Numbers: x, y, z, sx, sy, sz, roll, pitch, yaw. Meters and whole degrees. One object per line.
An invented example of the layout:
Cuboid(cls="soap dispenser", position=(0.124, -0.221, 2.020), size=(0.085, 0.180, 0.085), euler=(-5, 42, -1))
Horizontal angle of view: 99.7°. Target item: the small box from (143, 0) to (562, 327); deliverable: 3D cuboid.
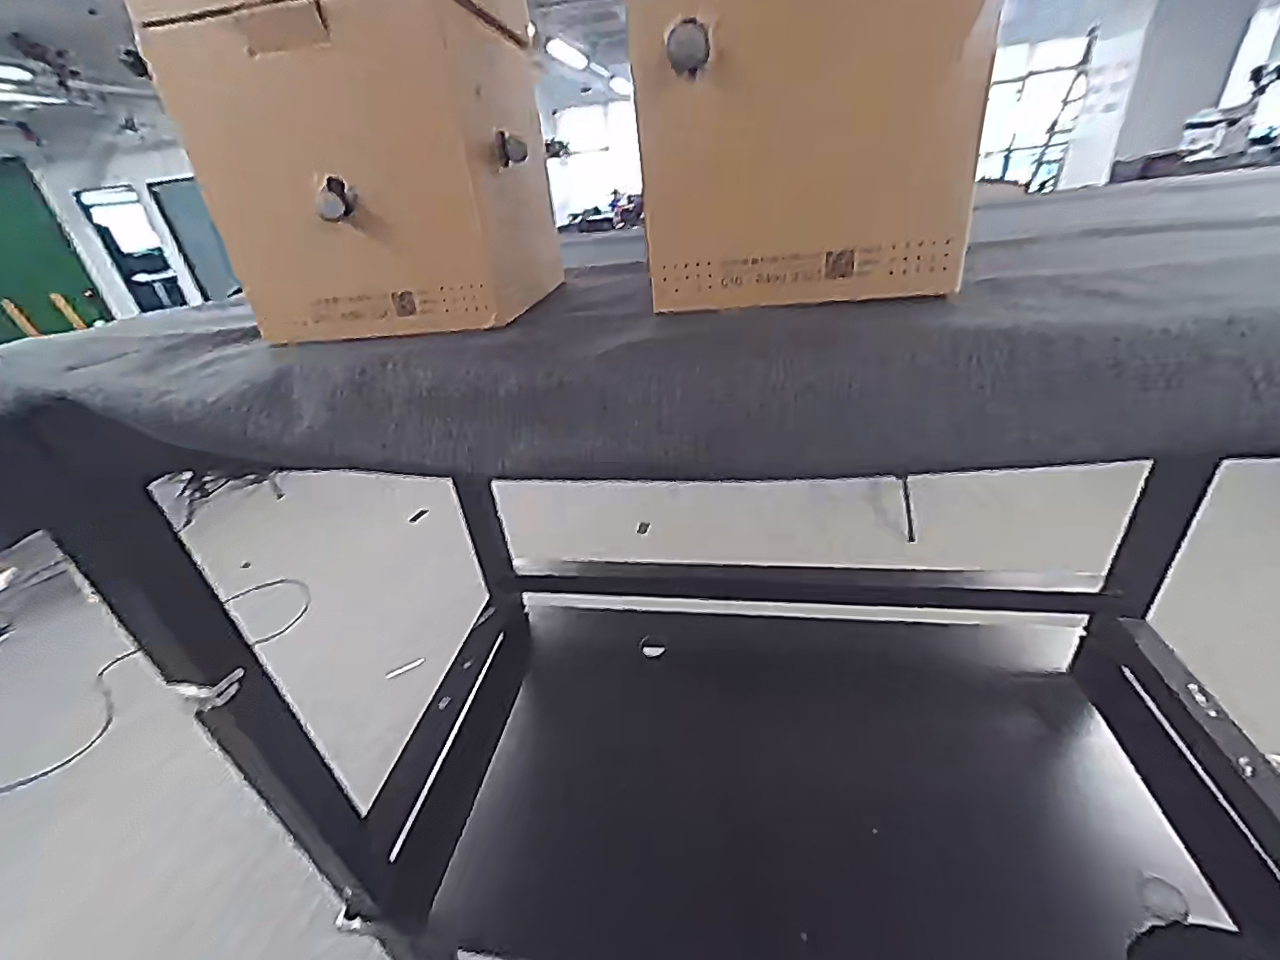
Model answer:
Cuboid(cls="small box", position=(-0.159, -0.207, 0.376), size=(0.168, 0.176, 0.179), euler=(-2, 29, 7))

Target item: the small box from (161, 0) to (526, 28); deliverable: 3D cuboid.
Cuboid(cls="small box", position=(-0.173, -0.353, 0.298), size=(0.168, 0.176, 0.179), euler=(-3, 29, 9))

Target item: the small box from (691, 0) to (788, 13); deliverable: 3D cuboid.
Cuboid(cls="small box", position=(0.087, -0.358, 0.257), size=(0.168, 0.176, 0.179), euler=(3, 29, 16))
